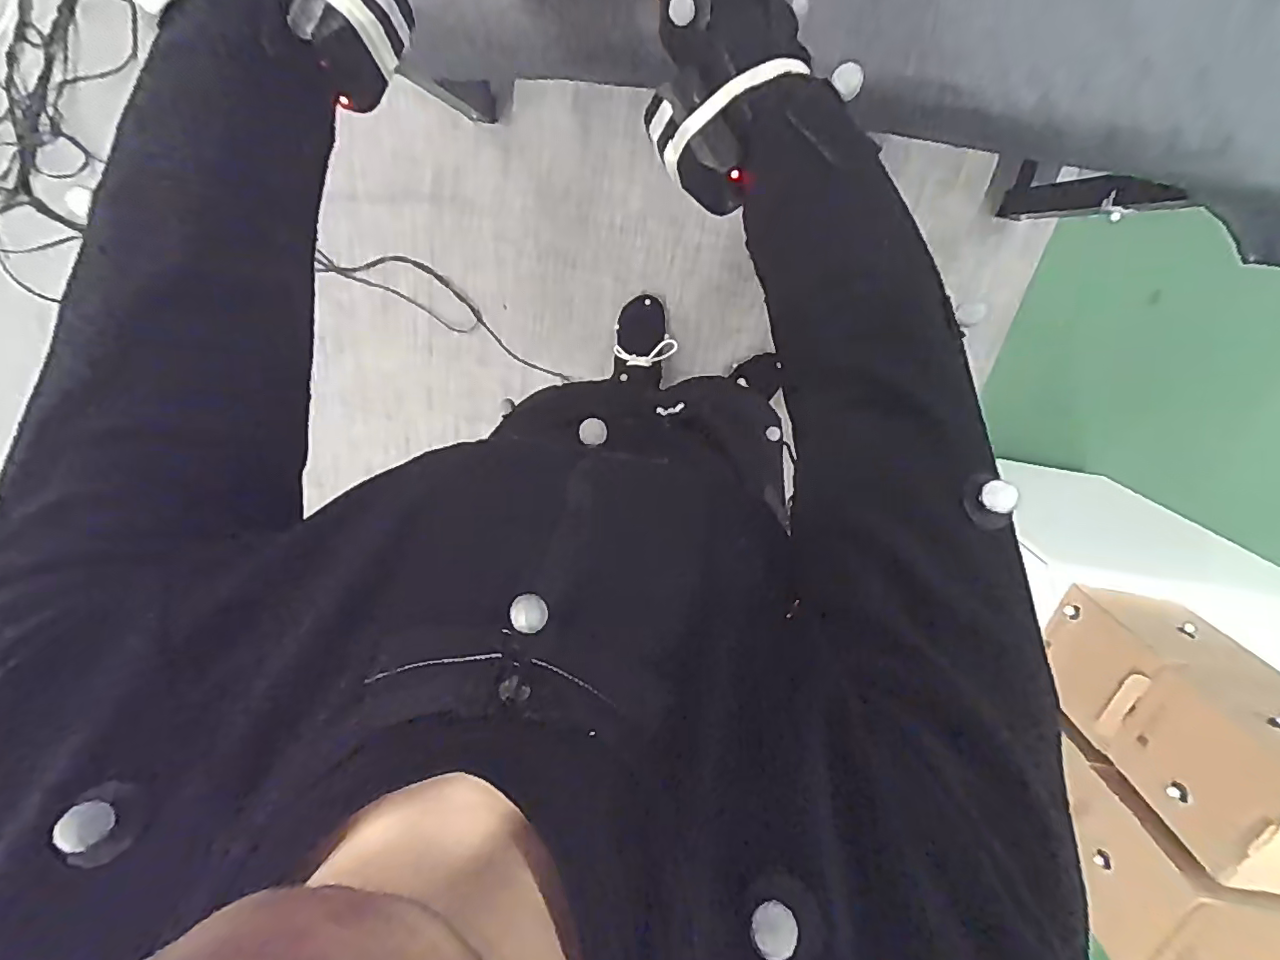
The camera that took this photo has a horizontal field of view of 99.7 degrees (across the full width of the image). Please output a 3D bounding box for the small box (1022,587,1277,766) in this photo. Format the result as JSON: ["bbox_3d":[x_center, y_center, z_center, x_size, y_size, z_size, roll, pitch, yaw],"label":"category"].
[{"bbox_3d":[0.711,0.276,0.784,0.179,0.176,0.168,9,114,-4],"label":"small box"}]

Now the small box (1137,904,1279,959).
[{"bbox_3d":[0.678,0.577,0.556,0.179,0.176,0.168,8,112,-3],"label":"small box"}]
